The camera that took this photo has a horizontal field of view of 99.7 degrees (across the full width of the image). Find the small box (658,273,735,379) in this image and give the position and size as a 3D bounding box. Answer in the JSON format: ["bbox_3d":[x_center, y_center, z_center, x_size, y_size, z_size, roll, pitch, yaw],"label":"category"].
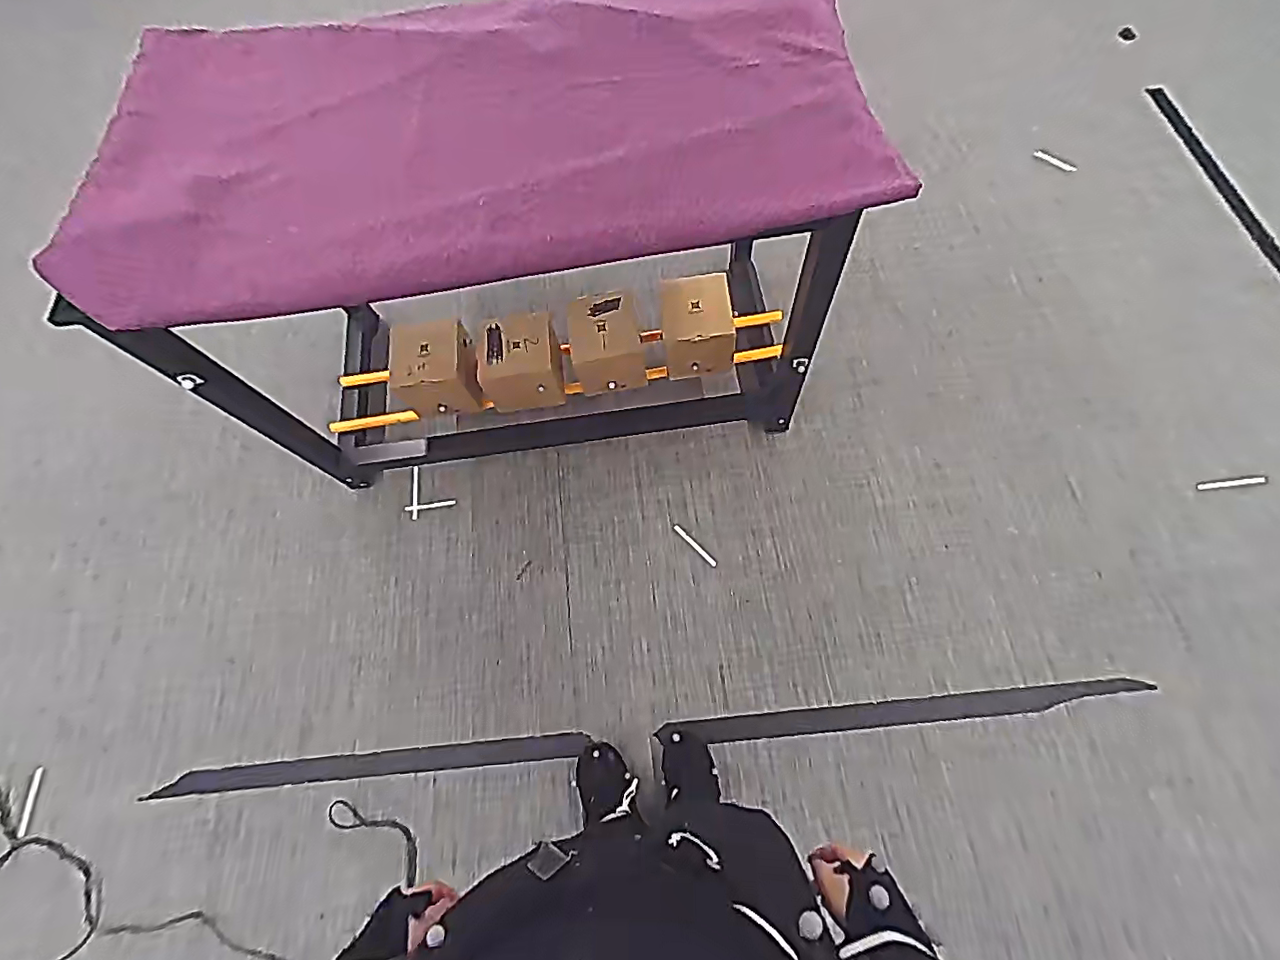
[{"bbox_3d":[0.135,-0.373,1.326,0.168,0.176,0.179,-7,70,4],"label":"small box"}]

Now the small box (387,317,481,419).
[{"bbox_3d":[-0.505,-0.275,1.347,0.168,0.176,0.179,-8,70,2],"label":"small box"}]

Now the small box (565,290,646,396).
[{"bbox_3d":[-0.082,-0.333,1.334,0.168,0.176,0.179,-10,71,2],"label":"small box"}]
